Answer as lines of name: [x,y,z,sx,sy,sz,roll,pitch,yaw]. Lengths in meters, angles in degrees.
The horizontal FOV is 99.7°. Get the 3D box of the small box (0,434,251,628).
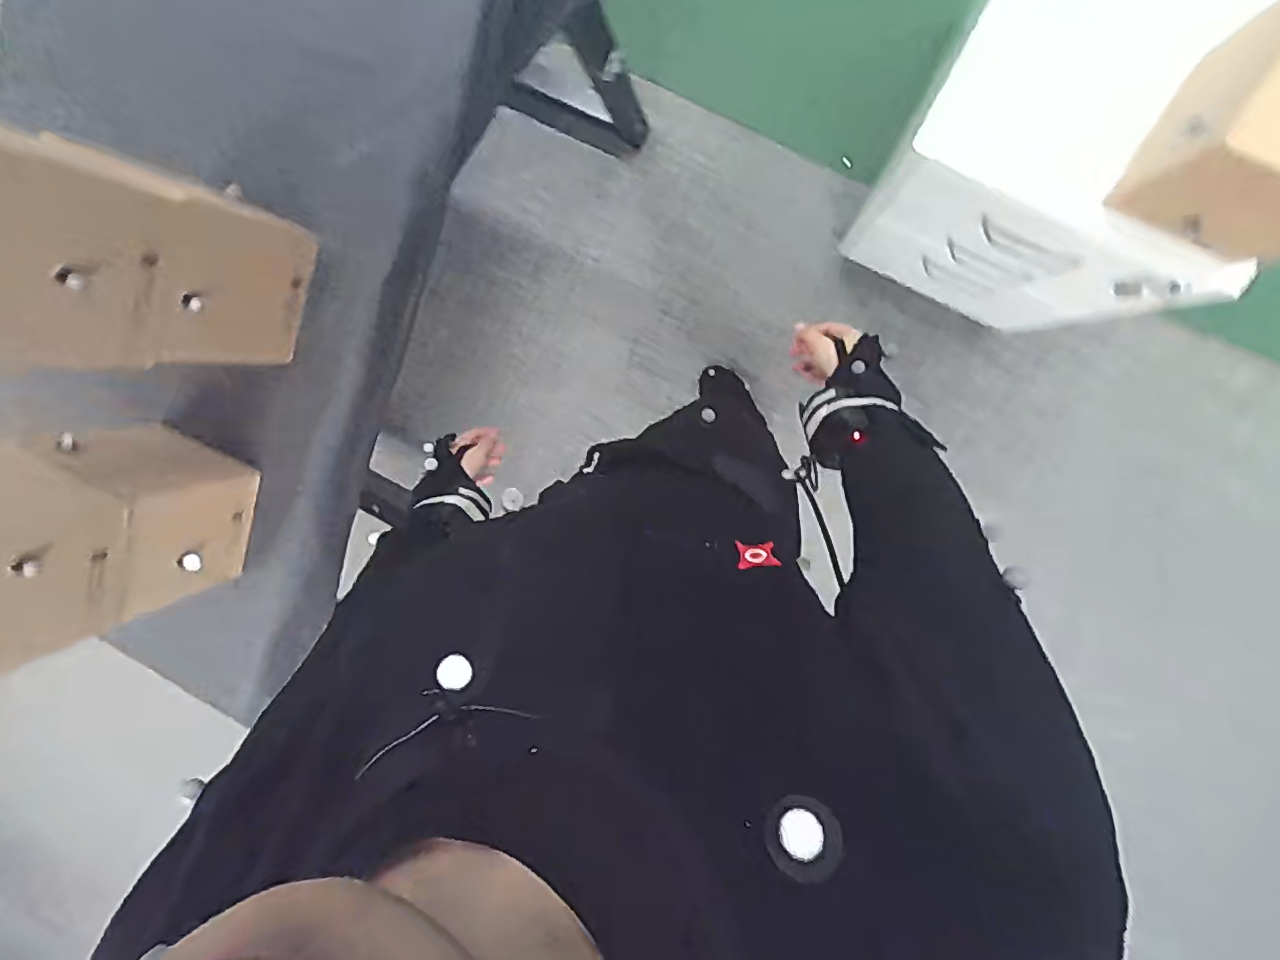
small box: [-0.641,0.050,0.681,0.179,0.176,0.168,23,103,5]

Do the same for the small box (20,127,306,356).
small box: [-0.521,-0.242,0.598,0.179,0.176,0.168,24,105,6]

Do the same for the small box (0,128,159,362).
small box: [-0.551,-0.203,0.439,0.179,0.176,0.168,24,104,5]
